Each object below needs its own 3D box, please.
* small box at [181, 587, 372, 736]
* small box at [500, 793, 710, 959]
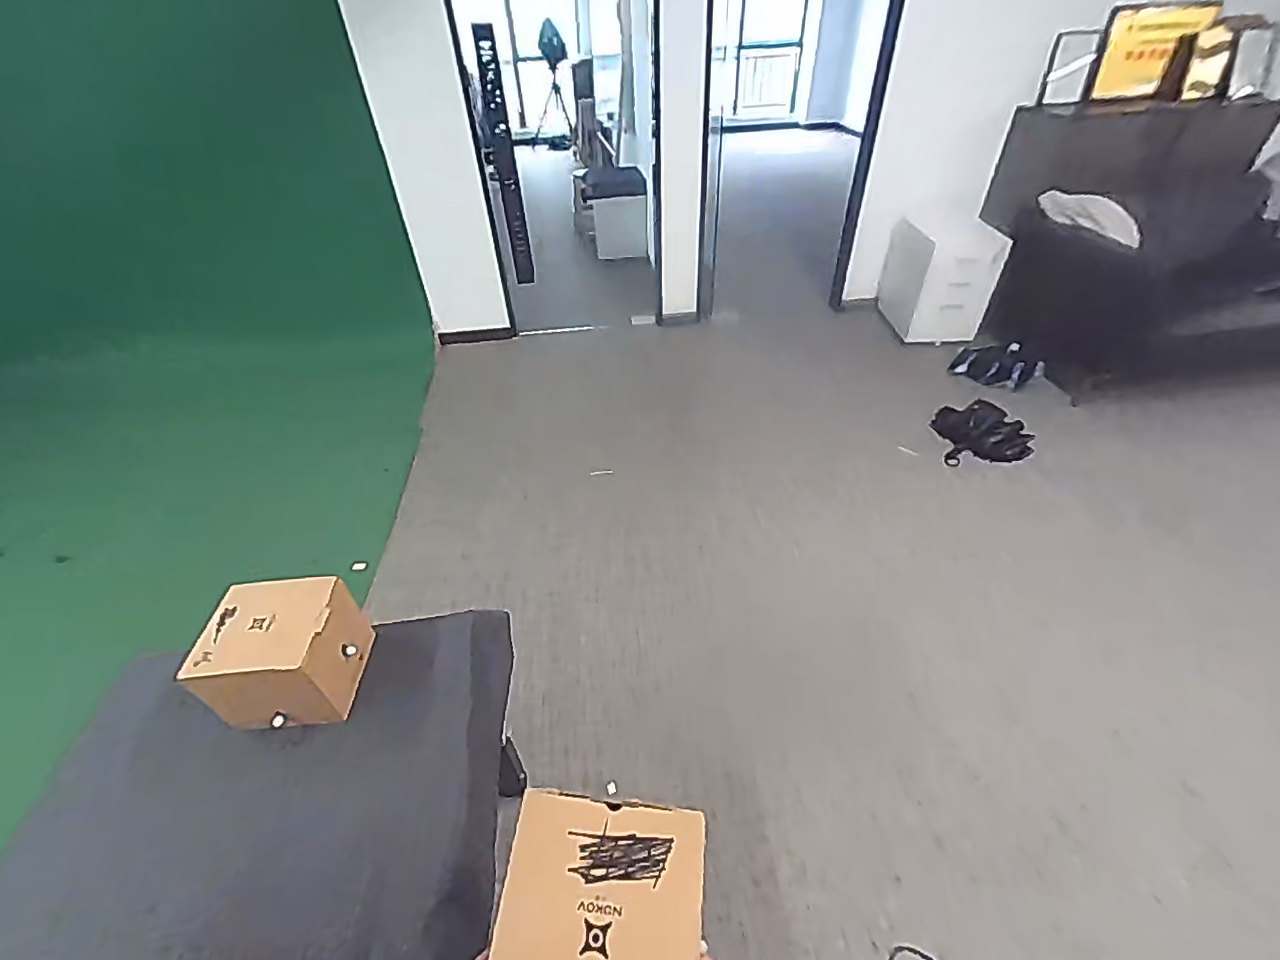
[{"bbox_3d":[-0.564,0.294,0.875,0.179,0.176,0.168,-4,42,-3],"label":"small box"},{"bbox_3d":[-0.031,0.412,0.504,0.168,0.176,0.179,6,53,2],"label":"small box"}]
